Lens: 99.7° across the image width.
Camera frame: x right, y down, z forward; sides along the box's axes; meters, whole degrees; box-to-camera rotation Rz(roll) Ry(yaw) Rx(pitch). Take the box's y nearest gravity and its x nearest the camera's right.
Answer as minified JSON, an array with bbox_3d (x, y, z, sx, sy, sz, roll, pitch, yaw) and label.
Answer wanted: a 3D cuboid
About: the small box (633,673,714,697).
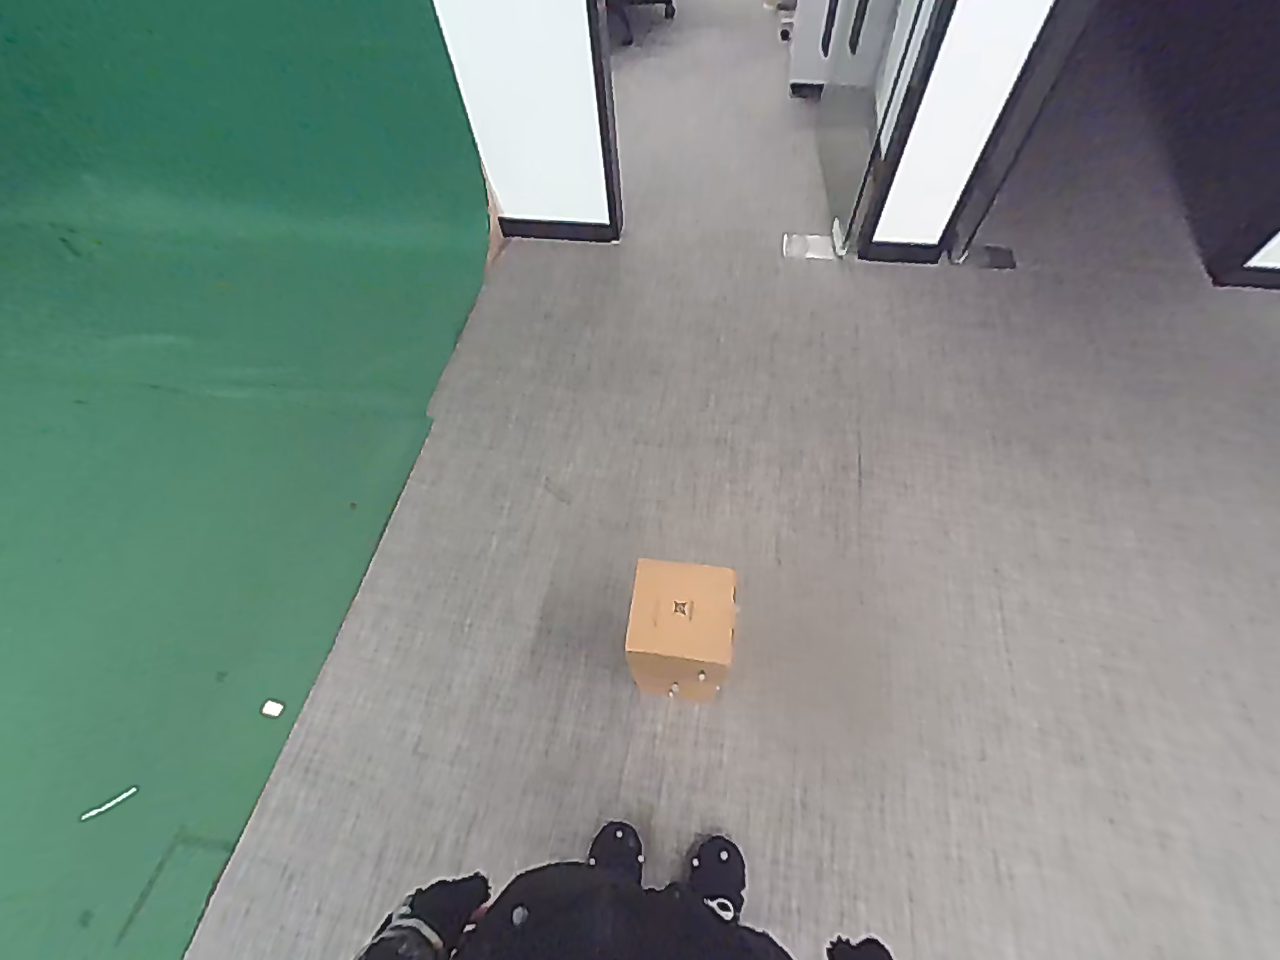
[{"bbox_3d":[0.088,0.404,1.274,0.179,0.176,0.168,7,60,8],"label":"small box"}]

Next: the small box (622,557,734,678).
[{"bbox_3d":[0.072,0.255,0.984,0.179,0.176,0.168,5,59,8],"label":"small box"}]

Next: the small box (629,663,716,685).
[{"bbox_3d":[0.076,0.325,1.132,0.179,0.176,0.168,5,60,6],"label":"small box"}]
